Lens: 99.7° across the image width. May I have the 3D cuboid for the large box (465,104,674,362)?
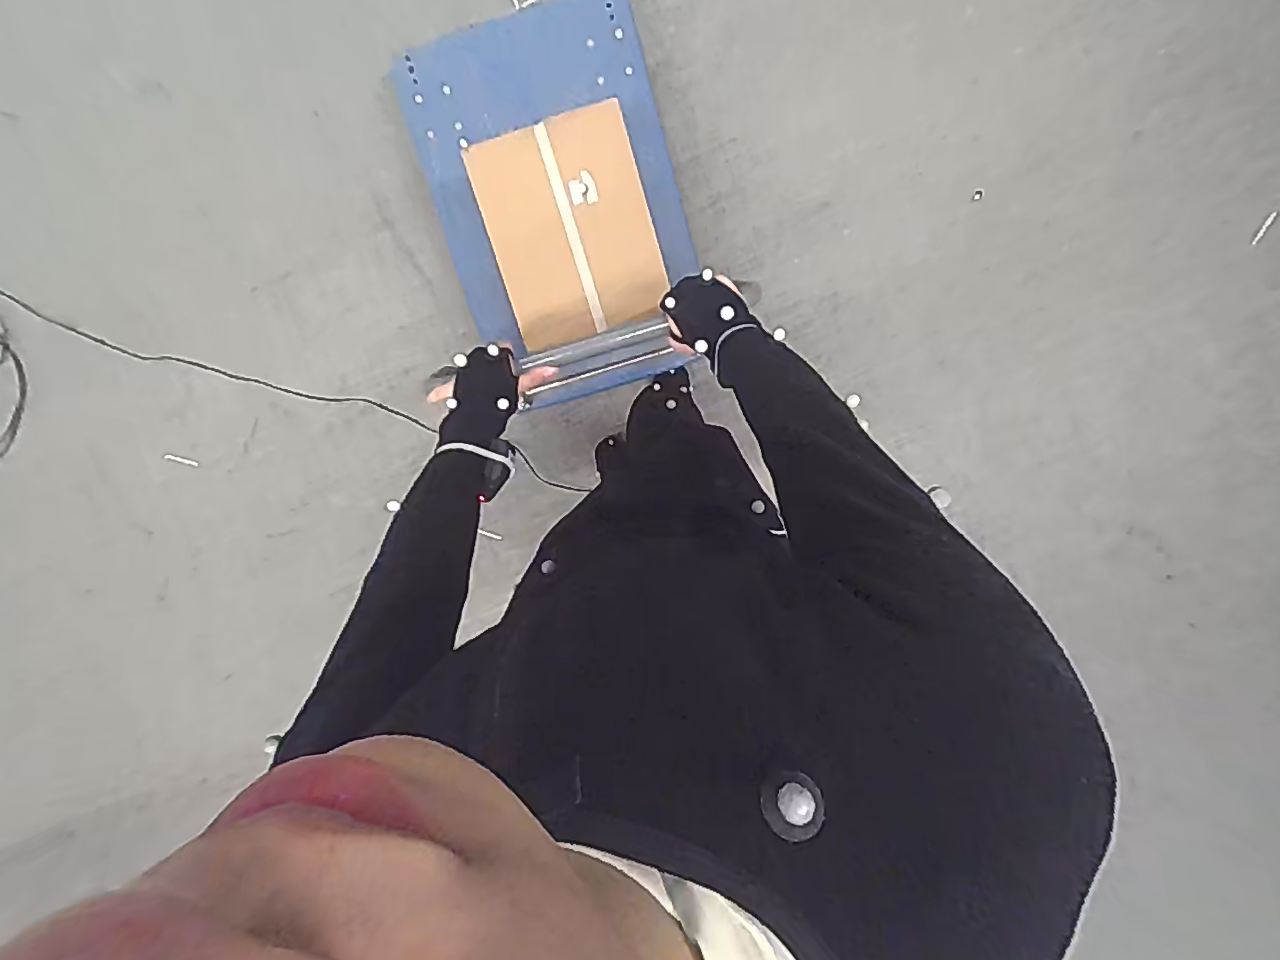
[{"bbox_3d":[-0.132,-0.507,1.206,0.320,0.320,0.408,-17,99,2],"label":"large box"}]
